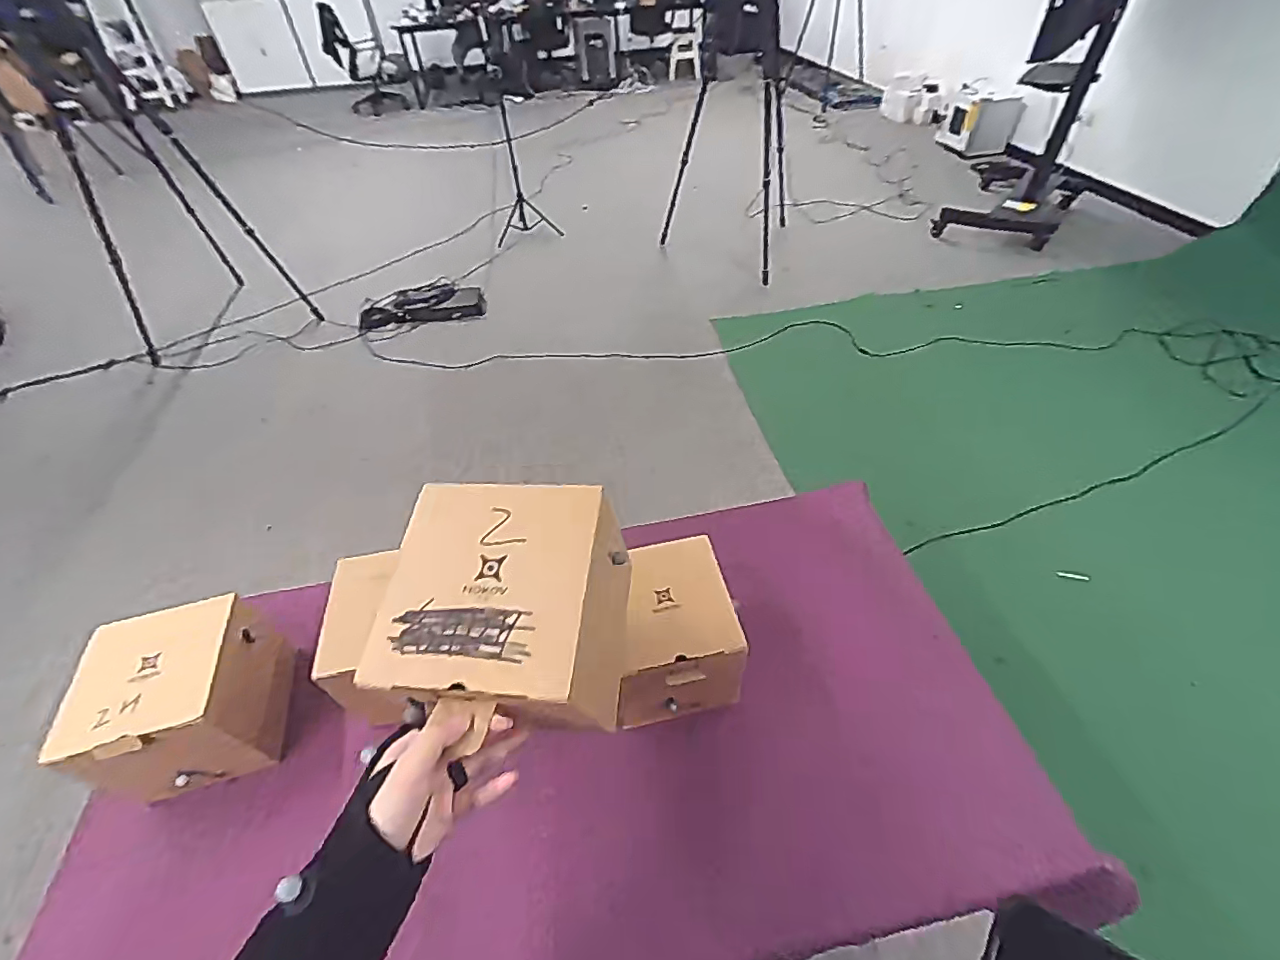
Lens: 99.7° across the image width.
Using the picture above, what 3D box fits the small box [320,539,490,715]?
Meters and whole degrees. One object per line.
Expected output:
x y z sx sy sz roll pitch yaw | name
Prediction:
-0.313 0.213 0.763 0.168 0.176 0.179 -9 47 -6 | small box

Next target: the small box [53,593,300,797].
-0.582 0.284 0.715 0.168 0.176 0.179 -14 48 -9 | small box

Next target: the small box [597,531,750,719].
0.039 0.201 0.748 0.168 0.176 0.179 -11 48 -6 | small box
